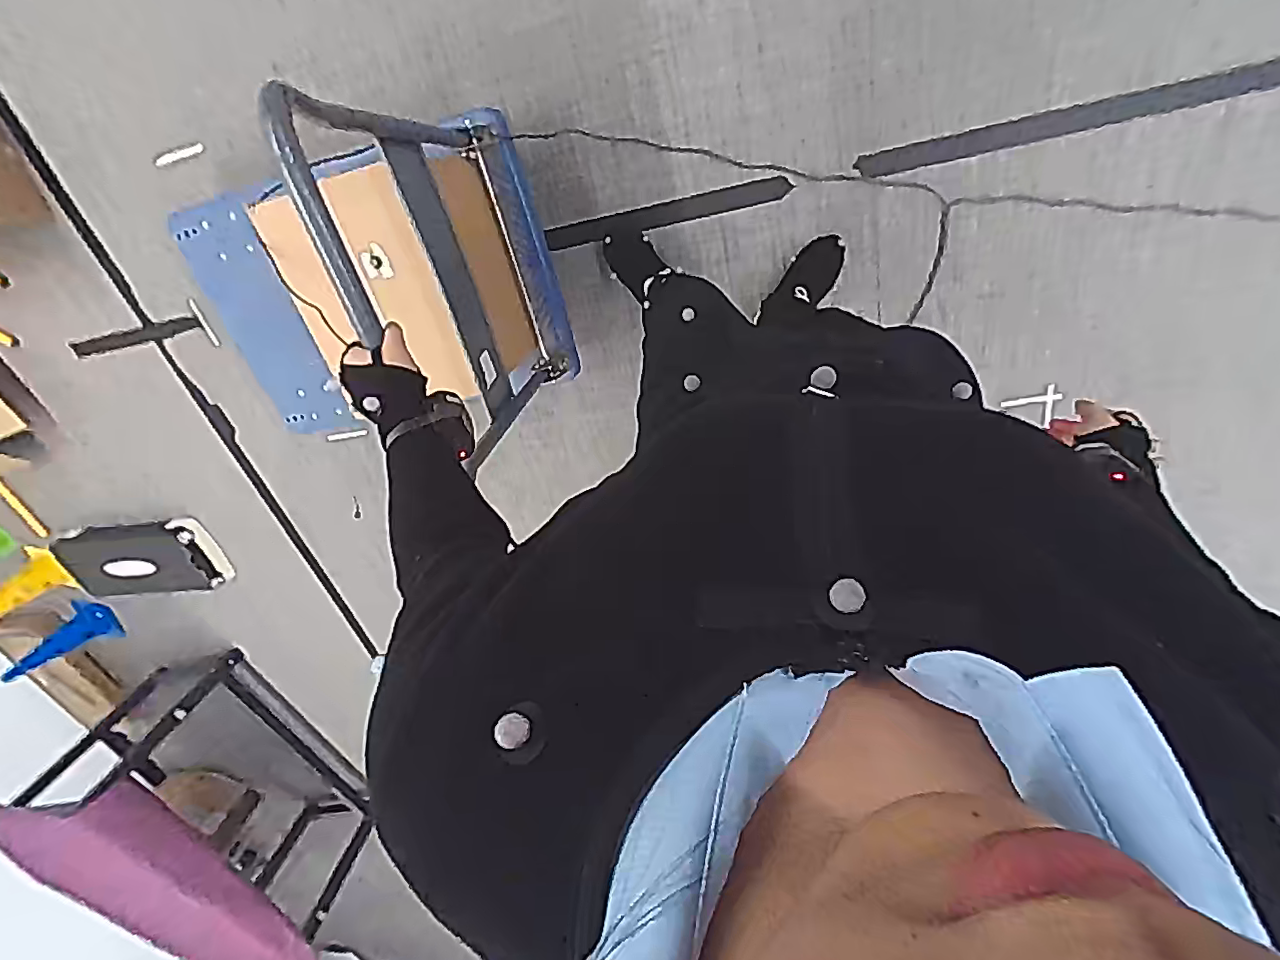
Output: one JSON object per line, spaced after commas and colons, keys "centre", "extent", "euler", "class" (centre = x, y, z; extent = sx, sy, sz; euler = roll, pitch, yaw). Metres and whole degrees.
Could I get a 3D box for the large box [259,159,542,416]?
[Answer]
{"centre": [-0.448, -0.395, 1.118], "extent": [0.320, 0.320, 0.408], "euler": [-9, 117, 14], "class": "large box"}
